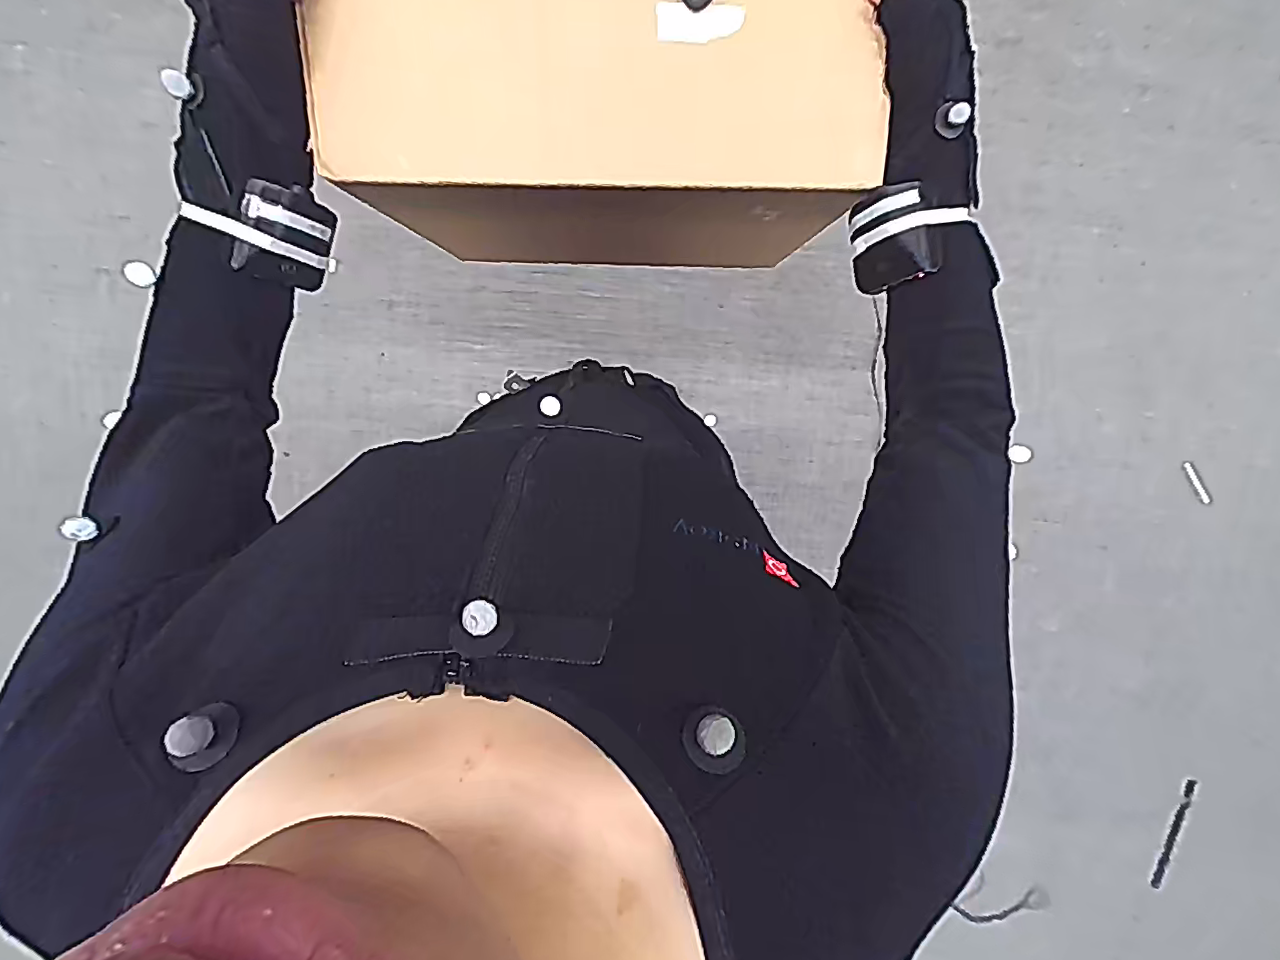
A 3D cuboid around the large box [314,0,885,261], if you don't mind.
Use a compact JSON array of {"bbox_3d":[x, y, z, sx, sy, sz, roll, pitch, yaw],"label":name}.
[{"bbox_3d":[-0.029,-0.402,0.512,0.408,0.320,0.320,1,102,-1],"label":"large box"}]
